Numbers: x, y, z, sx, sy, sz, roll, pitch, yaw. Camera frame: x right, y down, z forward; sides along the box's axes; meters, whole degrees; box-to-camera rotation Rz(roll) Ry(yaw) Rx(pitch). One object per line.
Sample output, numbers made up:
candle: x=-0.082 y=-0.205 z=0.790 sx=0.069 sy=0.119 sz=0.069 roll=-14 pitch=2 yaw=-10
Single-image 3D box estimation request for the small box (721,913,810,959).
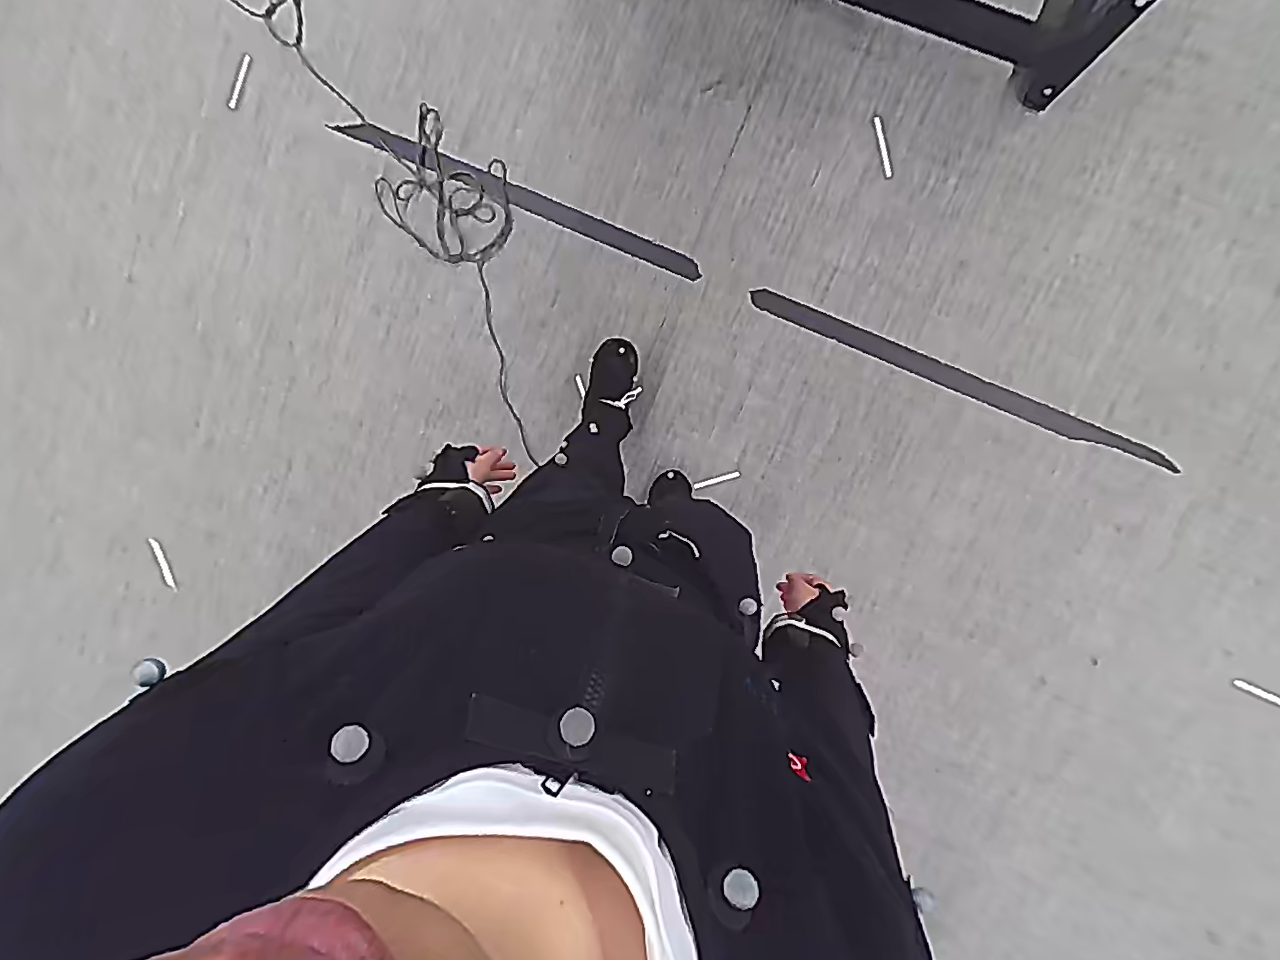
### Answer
small box: x=0.272 y=1.104 z=1.165 sx=0.168 sy=0.176 sz=0.179 roll=21 pitch=95 yaw=4
